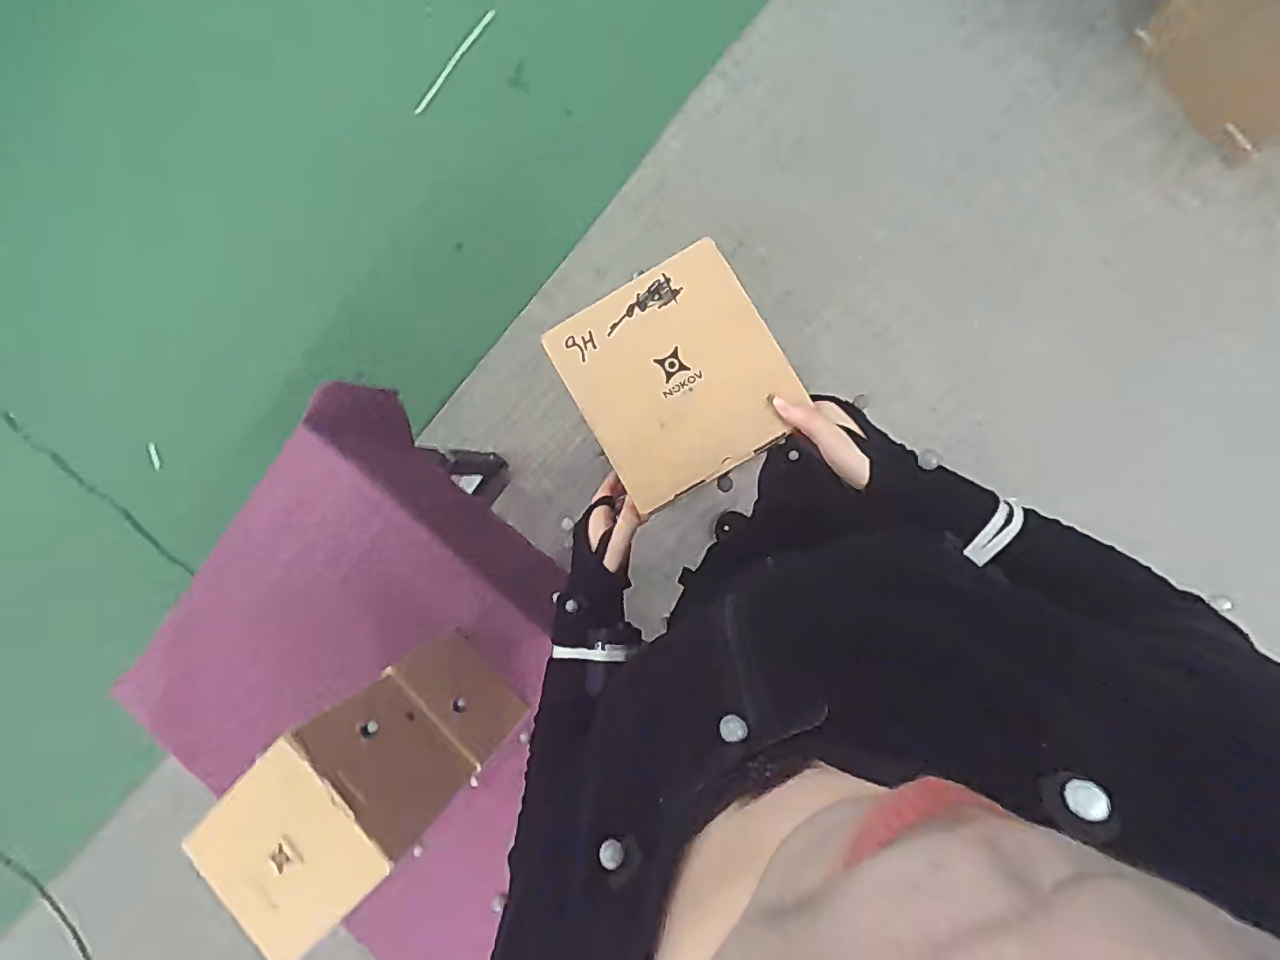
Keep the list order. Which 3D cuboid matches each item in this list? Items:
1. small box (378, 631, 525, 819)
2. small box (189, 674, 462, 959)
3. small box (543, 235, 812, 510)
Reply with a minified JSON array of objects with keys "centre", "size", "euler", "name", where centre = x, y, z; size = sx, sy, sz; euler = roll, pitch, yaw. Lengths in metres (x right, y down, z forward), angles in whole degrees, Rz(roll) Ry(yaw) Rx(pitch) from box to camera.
[{"centre":[-0.295,0.344,0.765],"size":[0.179,0.176,0.168],"euler":[44,97,6],"name":"small box"},{"centre":[-0.330,0.353,0.607],"size":[0.168,0.176,0.179],"euler":[46,99,7],"name":"small box"},{"centre":[0.035,-0.087,0.519],"size":[0.168,0.176,0.179],"euler":[-29,86,2],"name":"small box"}]
